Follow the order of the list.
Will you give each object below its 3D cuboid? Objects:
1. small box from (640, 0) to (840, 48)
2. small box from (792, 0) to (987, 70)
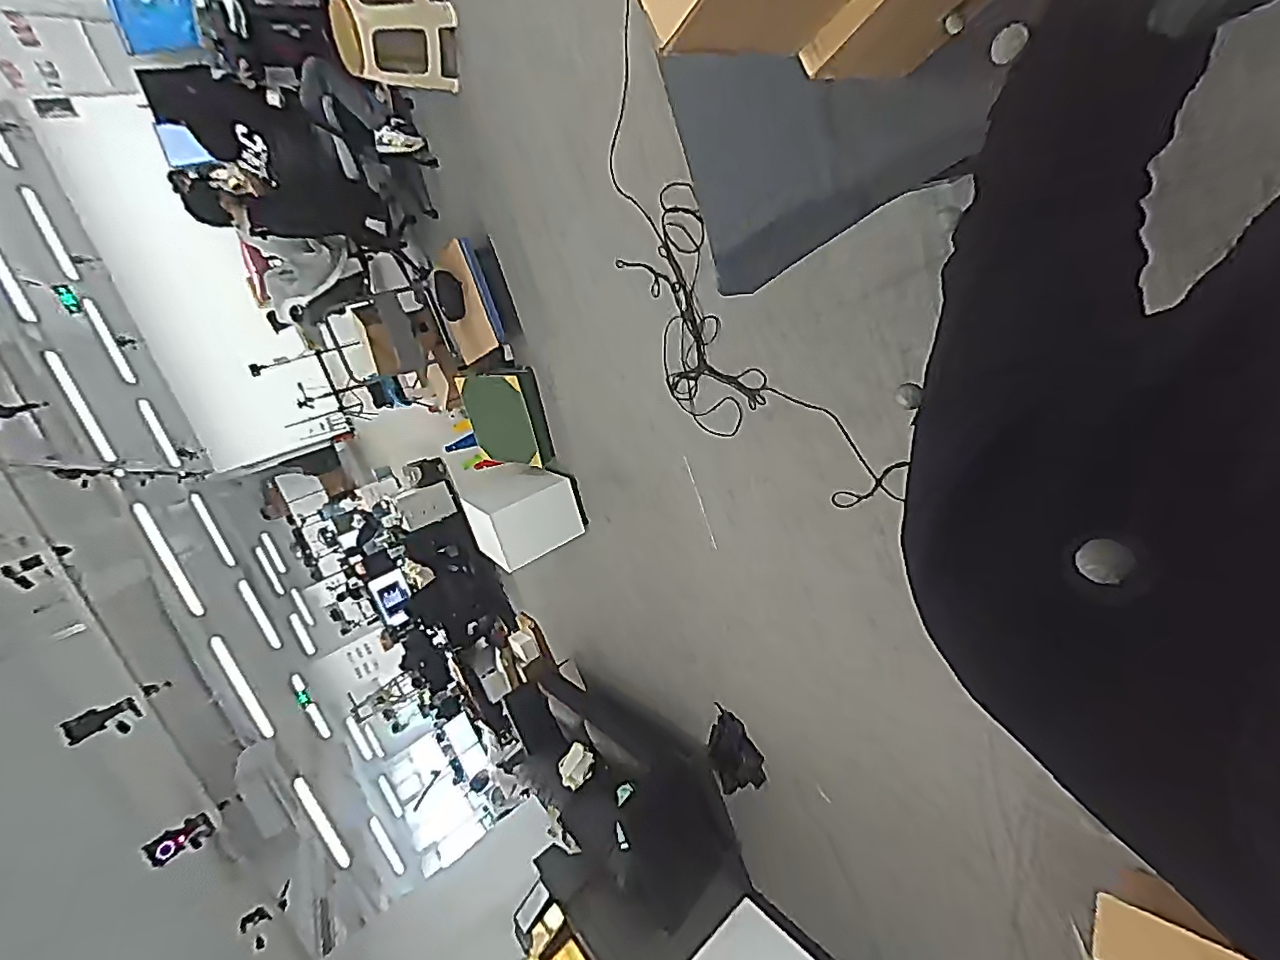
[{"bbox_3d":[0.089,-0.435,0.364,0.179,0.176,0.168,-9,106,58],"label":"small box"},{"bbox_3d":[0.218,-0.485,0.451,0.168,0.176,0.179,-16,100,60],"label":"small box"}]
